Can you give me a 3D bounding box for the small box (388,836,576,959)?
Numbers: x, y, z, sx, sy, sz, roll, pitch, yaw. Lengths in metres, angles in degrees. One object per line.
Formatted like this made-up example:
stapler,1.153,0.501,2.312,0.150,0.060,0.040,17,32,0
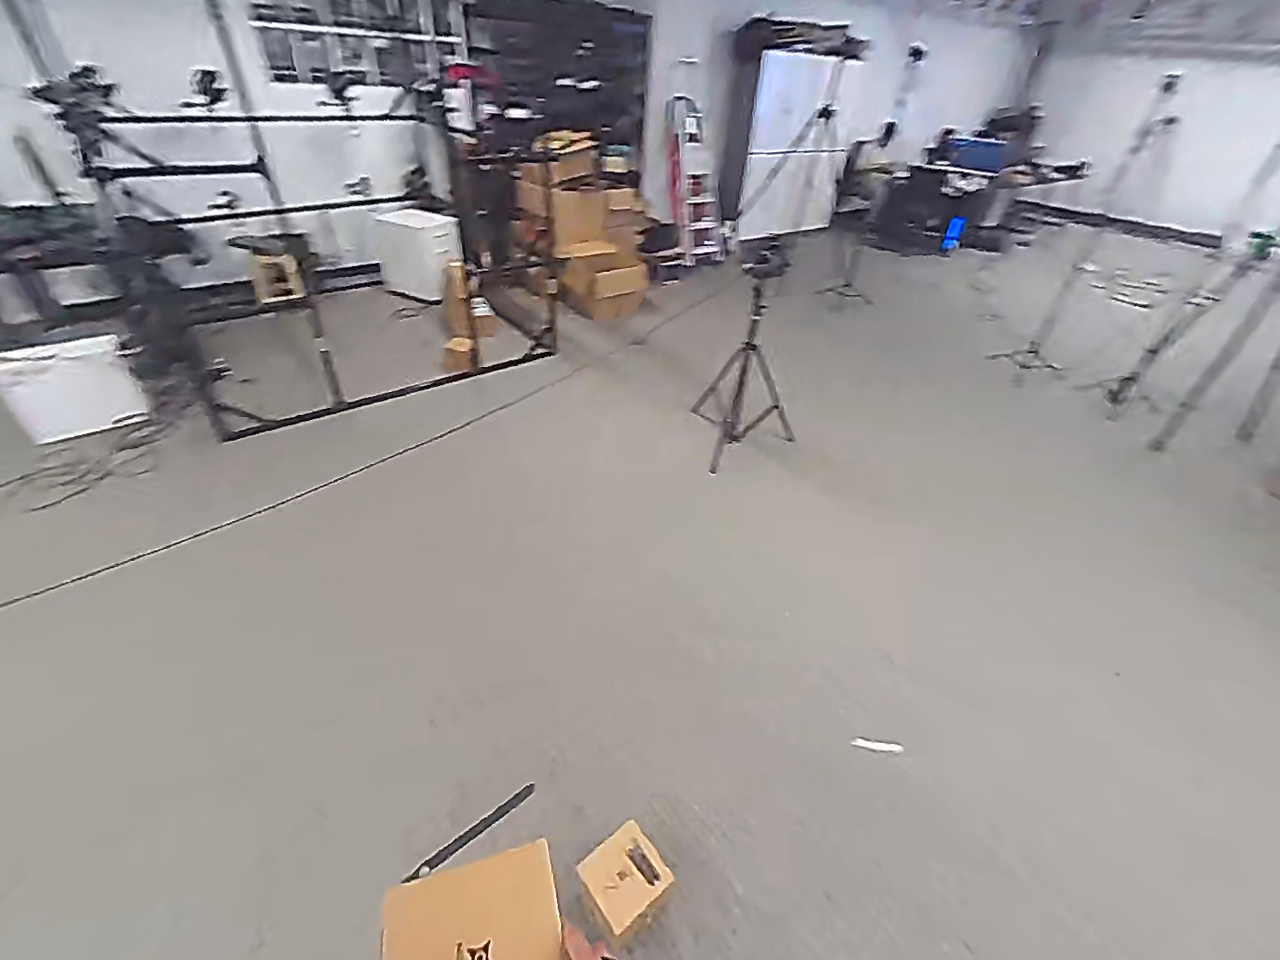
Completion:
small box,-0.166,0.523,0.595,0.179,0.176,0.168,-9,50,-16
